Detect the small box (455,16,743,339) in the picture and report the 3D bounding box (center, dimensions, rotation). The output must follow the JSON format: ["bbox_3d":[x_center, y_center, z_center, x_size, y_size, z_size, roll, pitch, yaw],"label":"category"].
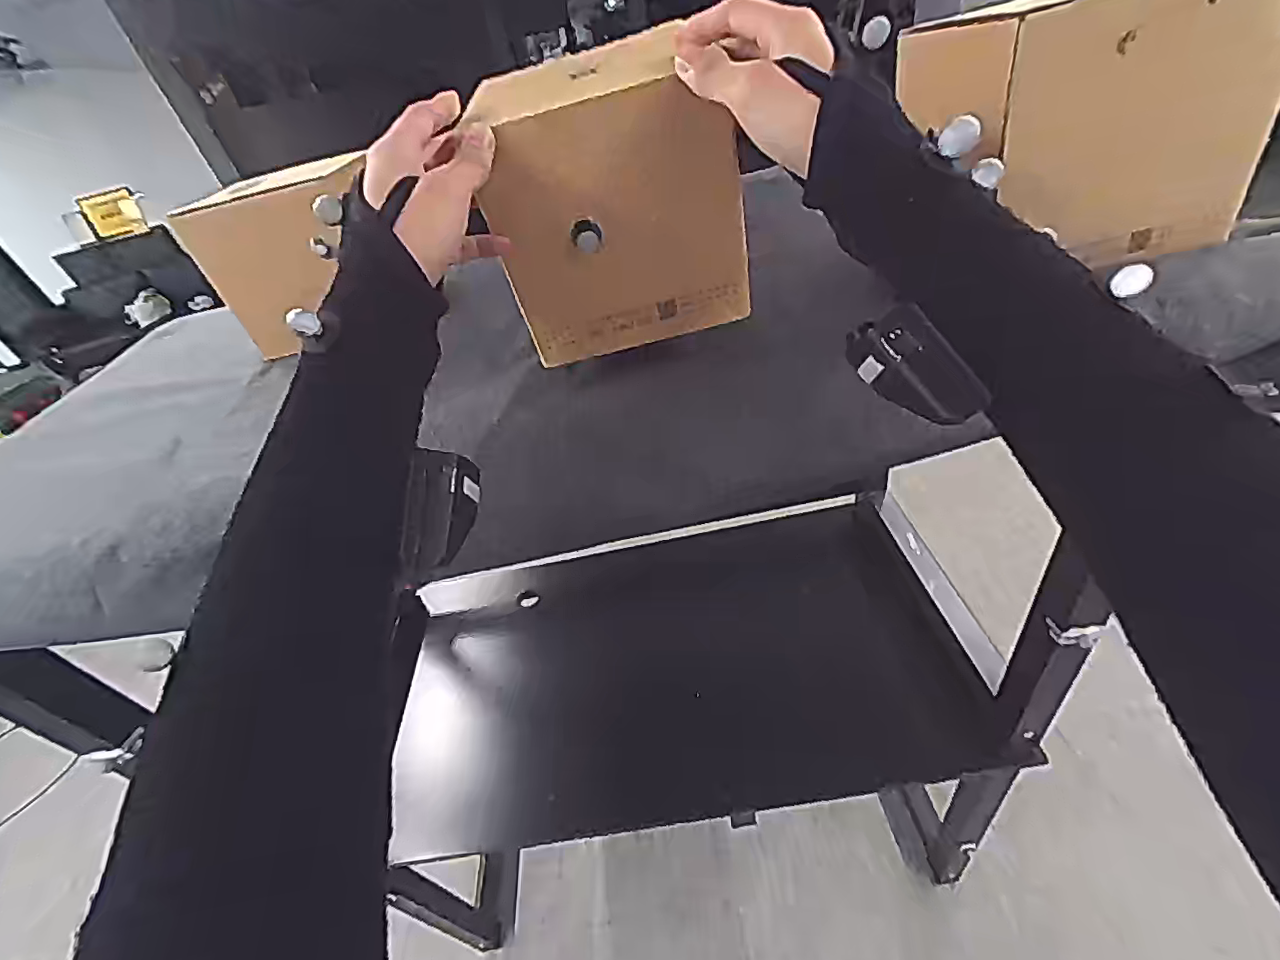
[{"bbox_3d":[-0.022,-0.228,0.426,0.168,0.176,0.179,-13,43,5],"label":"small box"}]

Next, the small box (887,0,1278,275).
[{"bbox_3d":[0.303,-0.269,0.410,0.168,0.176,0.179,-11,35,7],"label":"small box"}]
